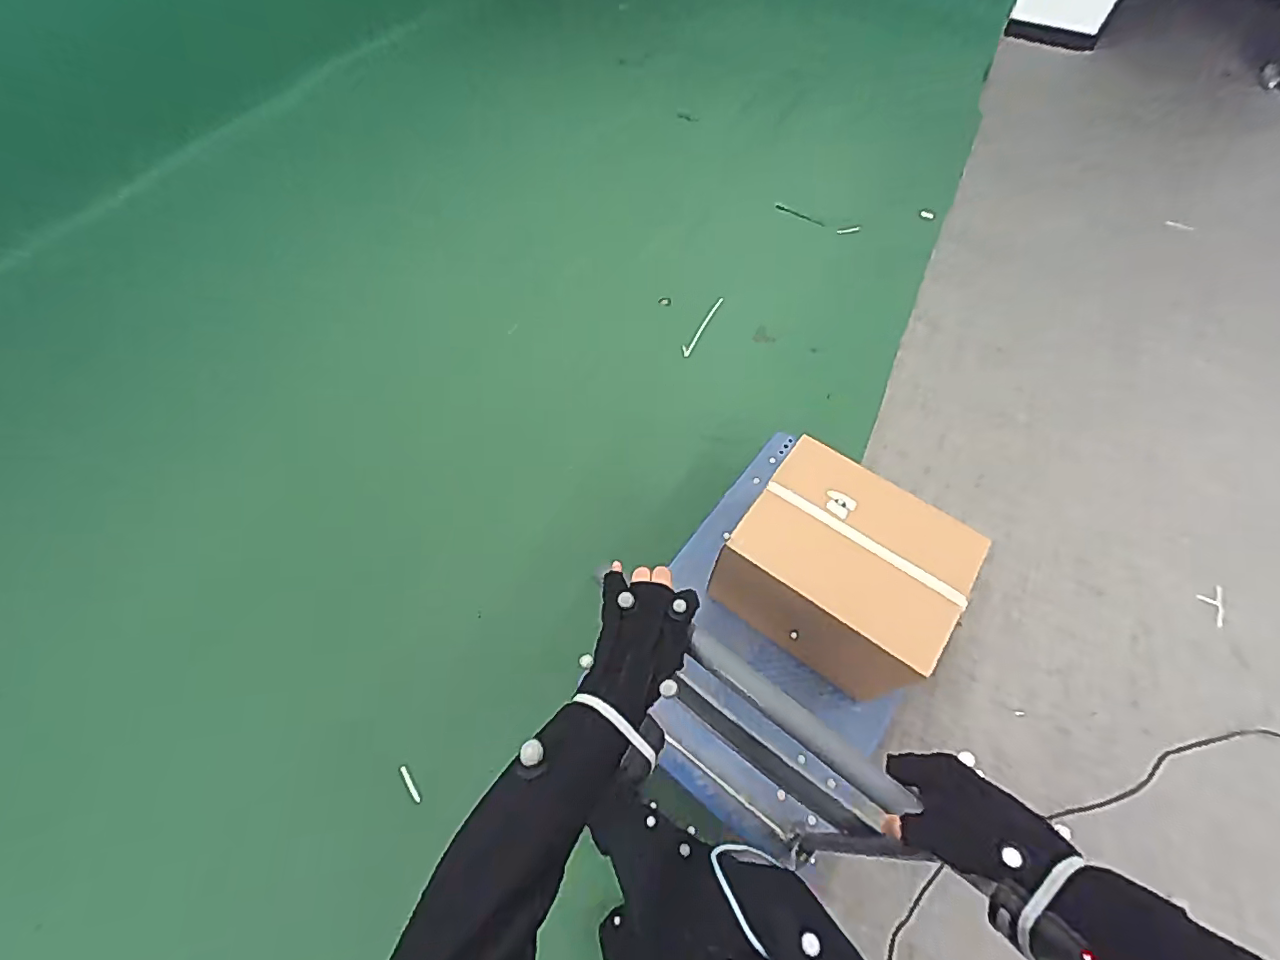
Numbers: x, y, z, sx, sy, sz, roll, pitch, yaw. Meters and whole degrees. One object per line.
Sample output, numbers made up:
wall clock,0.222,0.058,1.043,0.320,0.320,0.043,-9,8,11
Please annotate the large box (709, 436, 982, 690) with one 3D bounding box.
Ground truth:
large box,0.407,0.184,1.157,0.408,0.320,0.320,33,65,17
